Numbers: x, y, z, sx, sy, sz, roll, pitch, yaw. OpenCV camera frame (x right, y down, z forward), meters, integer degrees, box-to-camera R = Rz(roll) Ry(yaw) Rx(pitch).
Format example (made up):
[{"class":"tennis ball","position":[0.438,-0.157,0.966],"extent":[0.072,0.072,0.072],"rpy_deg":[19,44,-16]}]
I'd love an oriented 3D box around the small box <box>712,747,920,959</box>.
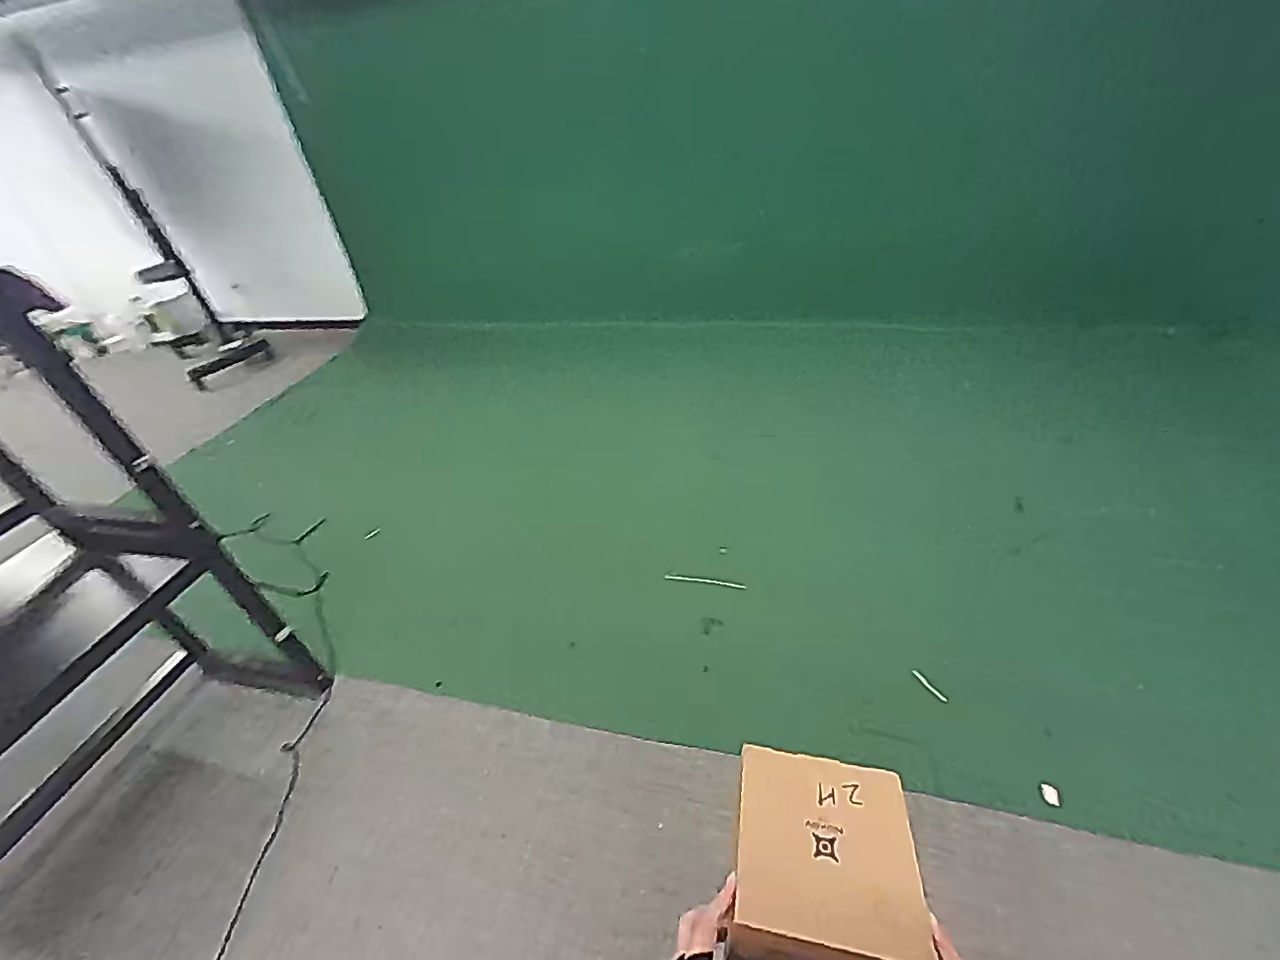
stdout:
[{"class":"small box","position":[0.167,0.419,0.558],"extent":[0.168,0.176,0.179],"rpy_deg":[7,29,11]}]
